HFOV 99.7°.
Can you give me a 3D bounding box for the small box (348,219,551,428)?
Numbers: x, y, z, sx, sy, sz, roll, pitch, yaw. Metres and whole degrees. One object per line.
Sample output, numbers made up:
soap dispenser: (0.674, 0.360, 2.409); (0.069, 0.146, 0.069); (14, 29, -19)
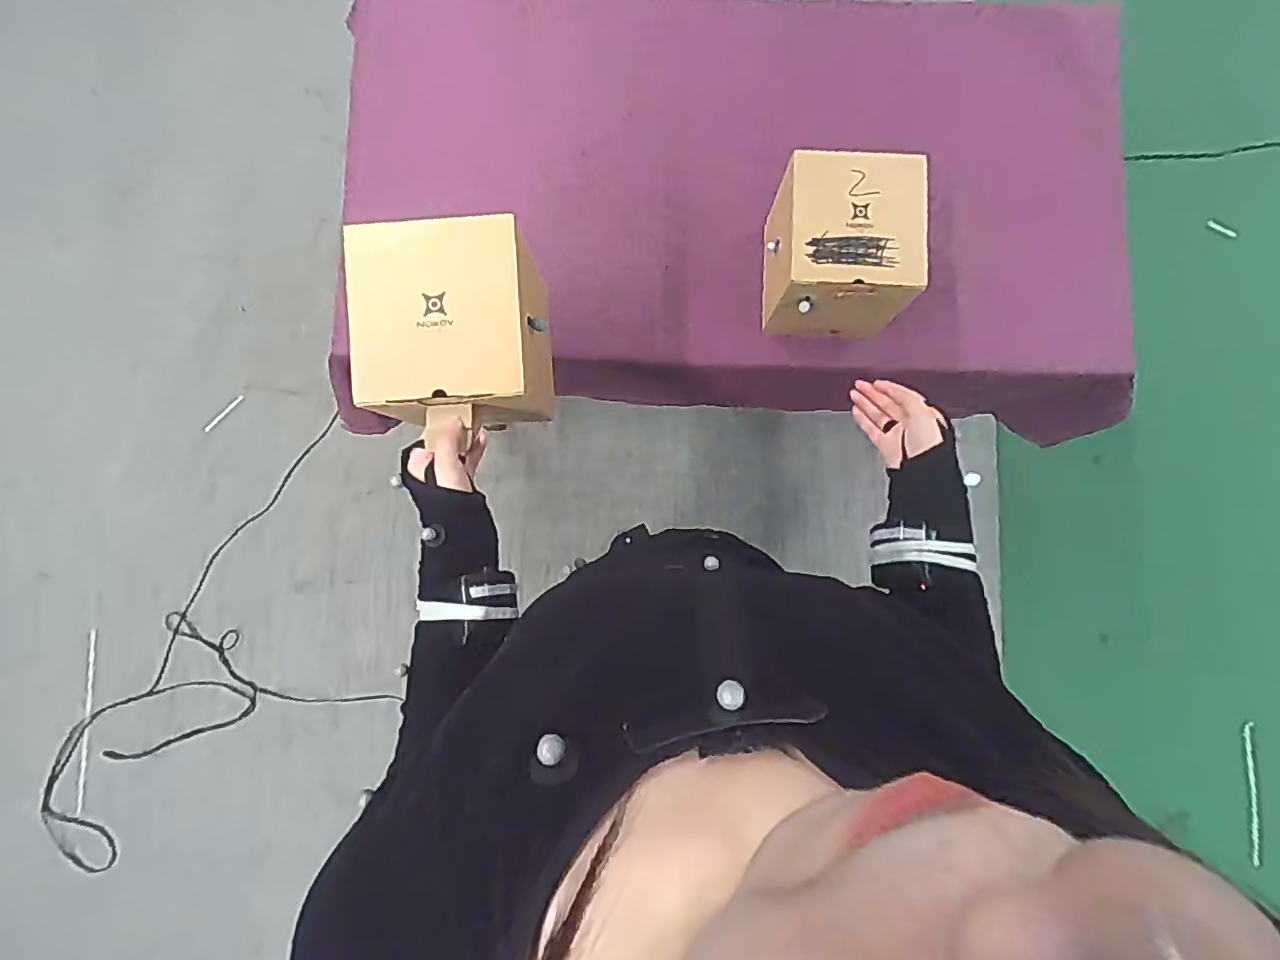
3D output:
small box: (-0.194, -0.157, 0.591); (0.168, 0.176, 0.179); (-3, 89, -1)
